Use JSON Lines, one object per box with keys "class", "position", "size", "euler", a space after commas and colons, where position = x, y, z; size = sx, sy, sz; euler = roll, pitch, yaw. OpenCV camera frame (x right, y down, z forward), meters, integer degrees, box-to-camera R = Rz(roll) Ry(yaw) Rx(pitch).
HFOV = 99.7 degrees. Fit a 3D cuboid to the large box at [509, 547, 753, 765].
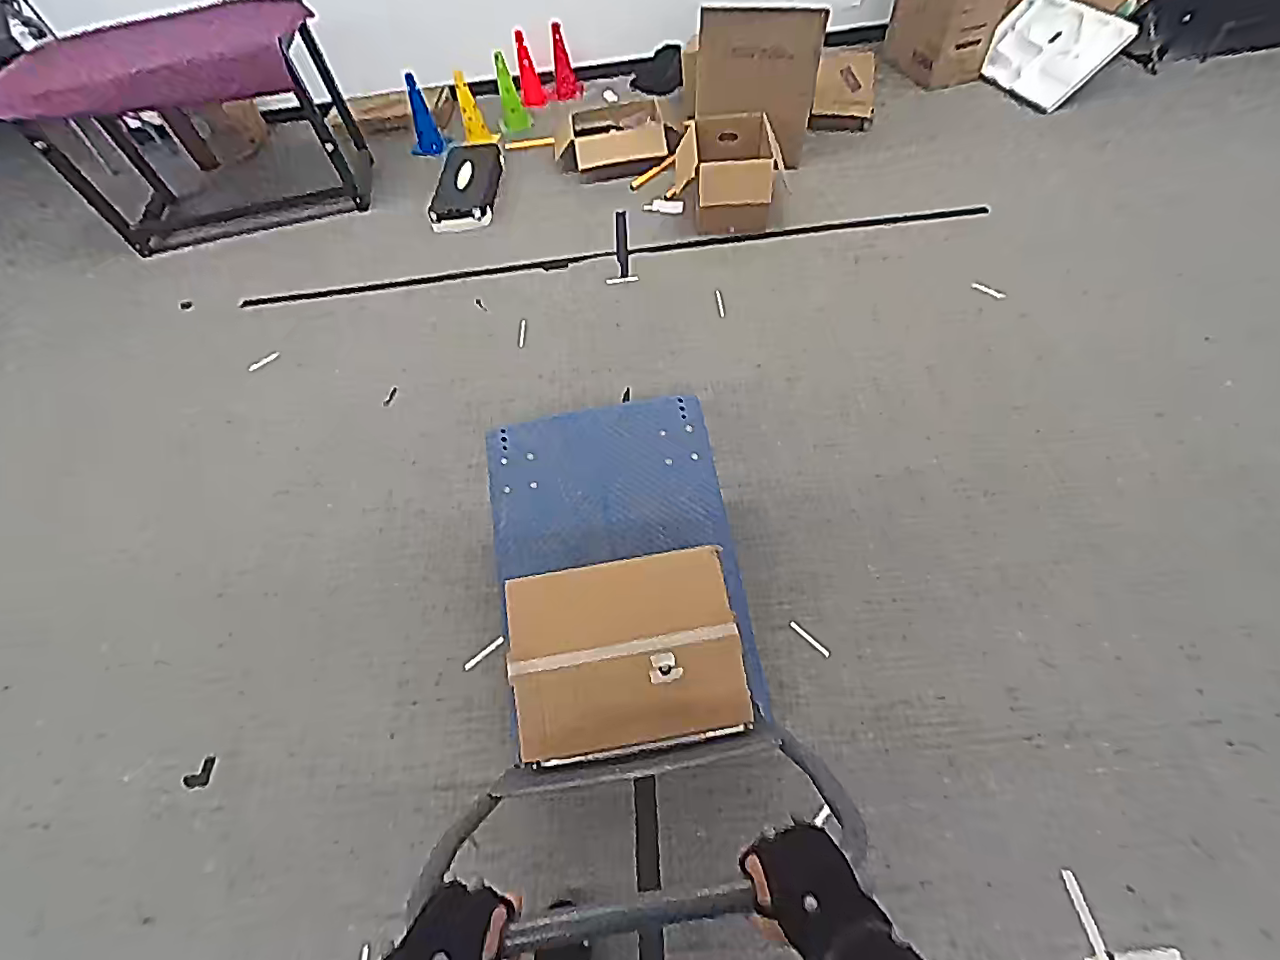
{"class": "large box", "position": [-0.023, 0.357, 1.119], "size": [0.408, 0.320, 0.320], "euler": [-11, 72, -3]}
